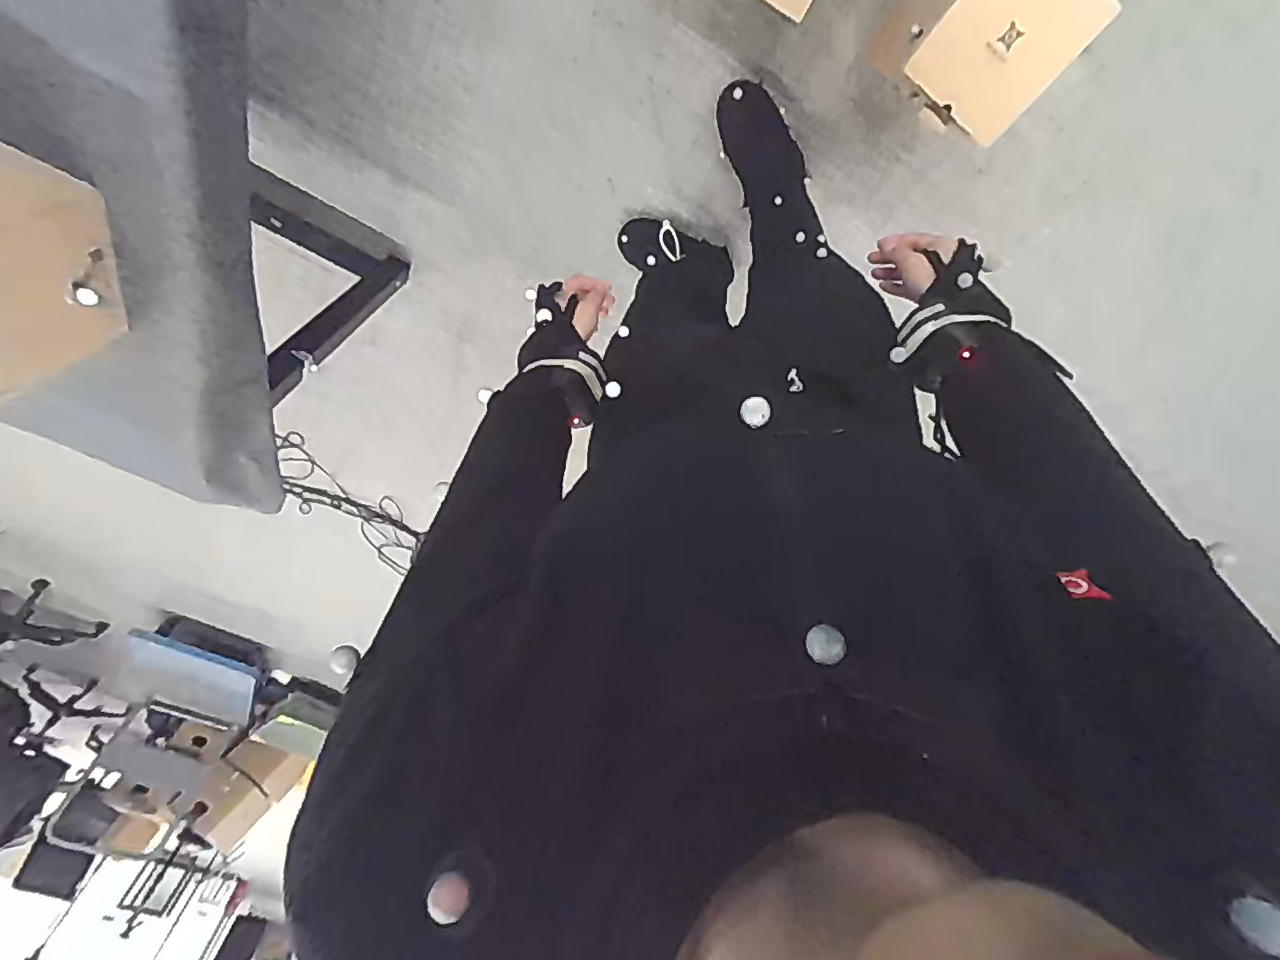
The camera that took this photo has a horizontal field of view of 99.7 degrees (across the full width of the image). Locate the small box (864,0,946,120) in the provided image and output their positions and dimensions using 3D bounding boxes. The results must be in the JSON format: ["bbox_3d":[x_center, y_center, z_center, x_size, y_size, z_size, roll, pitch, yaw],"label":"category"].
[{"bbox_3d":[0.464,-0.699,0.820,0.168,0.176,0.179,27,133,-16],"label":"small box"}]

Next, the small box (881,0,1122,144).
[{"bbox_3d":[0.447,-0.587,0.701,0.168,0.176,0.179,28,131,-17],"label":"small box"}]

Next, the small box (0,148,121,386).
[{"bbox_3d":[-0.620,-0.196,0.468,0.179,0.176,0.168,24,132,-14],"label":"small box"}]
